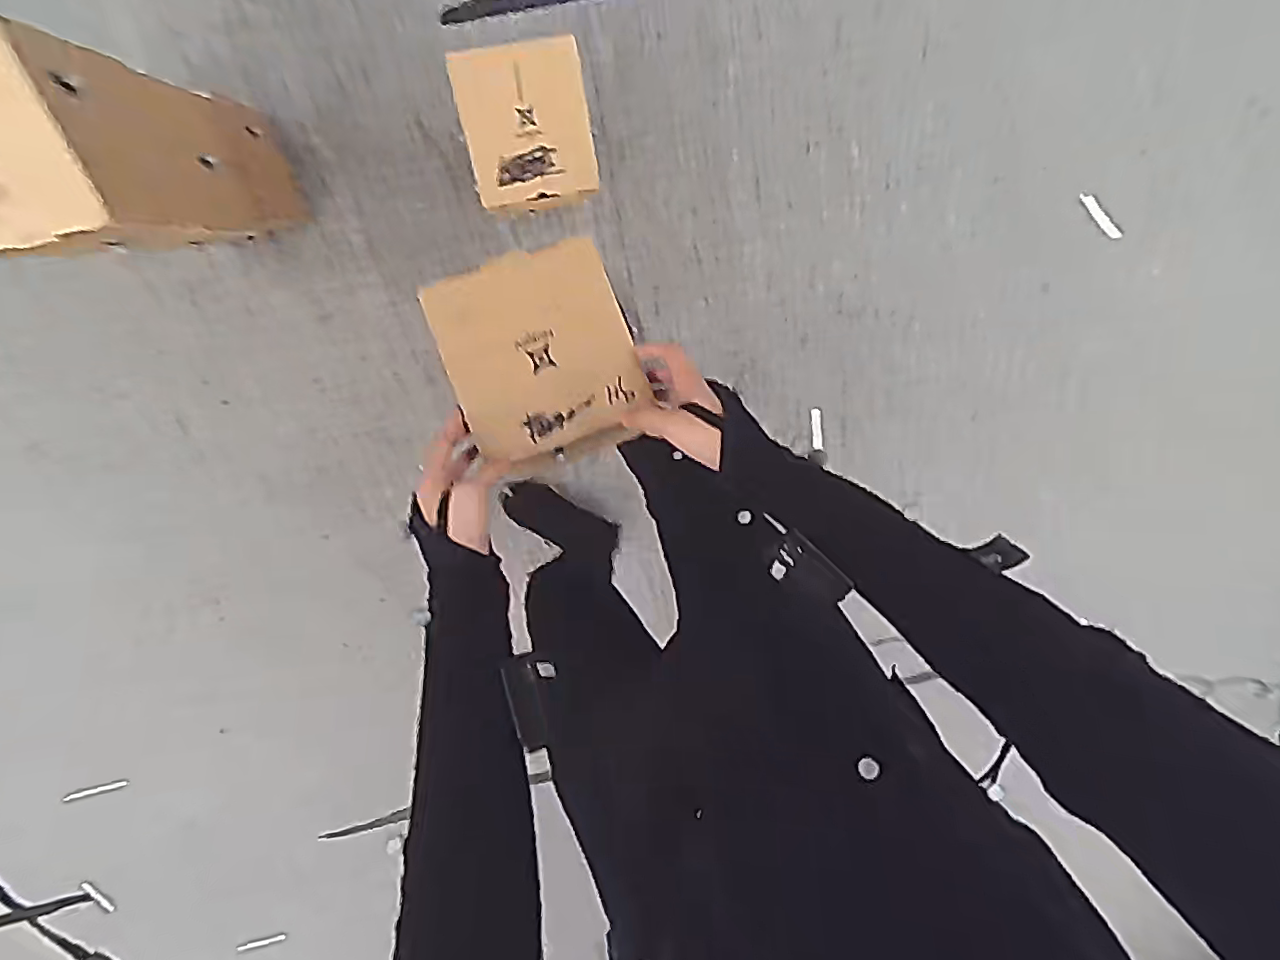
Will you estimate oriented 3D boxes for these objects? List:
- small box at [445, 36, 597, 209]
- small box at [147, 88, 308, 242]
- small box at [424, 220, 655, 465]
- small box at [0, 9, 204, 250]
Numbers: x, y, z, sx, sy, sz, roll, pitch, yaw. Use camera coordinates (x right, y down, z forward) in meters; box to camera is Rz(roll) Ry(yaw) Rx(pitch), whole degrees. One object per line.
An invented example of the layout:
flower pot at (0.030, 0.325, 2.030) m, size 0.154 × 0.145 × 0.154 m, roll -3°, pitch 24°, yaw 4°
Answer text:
small box at (-0.162, -0.498, 0.779) m, size 0.168 × 0.176 × 0.179 m, roll -12°, pitch 116°, yaw -5°
small box at (-0.681, -0.493, 0.871) m, size 0.168 × 0.176 × 0.179 m, roll -15°, pitch 115°, yaw -2°
small box at (-0.097, -0.128, 0.565) m, size 0.168 × 0.176 × 0.179 m, roll -20°, pitch 88°, yaw -5°
small box at (-0.635, -0.353, 0.579) m, size 0.168 × 0.176 × 0.179 m, roll -14°, pitch 116°, yaw -2°
